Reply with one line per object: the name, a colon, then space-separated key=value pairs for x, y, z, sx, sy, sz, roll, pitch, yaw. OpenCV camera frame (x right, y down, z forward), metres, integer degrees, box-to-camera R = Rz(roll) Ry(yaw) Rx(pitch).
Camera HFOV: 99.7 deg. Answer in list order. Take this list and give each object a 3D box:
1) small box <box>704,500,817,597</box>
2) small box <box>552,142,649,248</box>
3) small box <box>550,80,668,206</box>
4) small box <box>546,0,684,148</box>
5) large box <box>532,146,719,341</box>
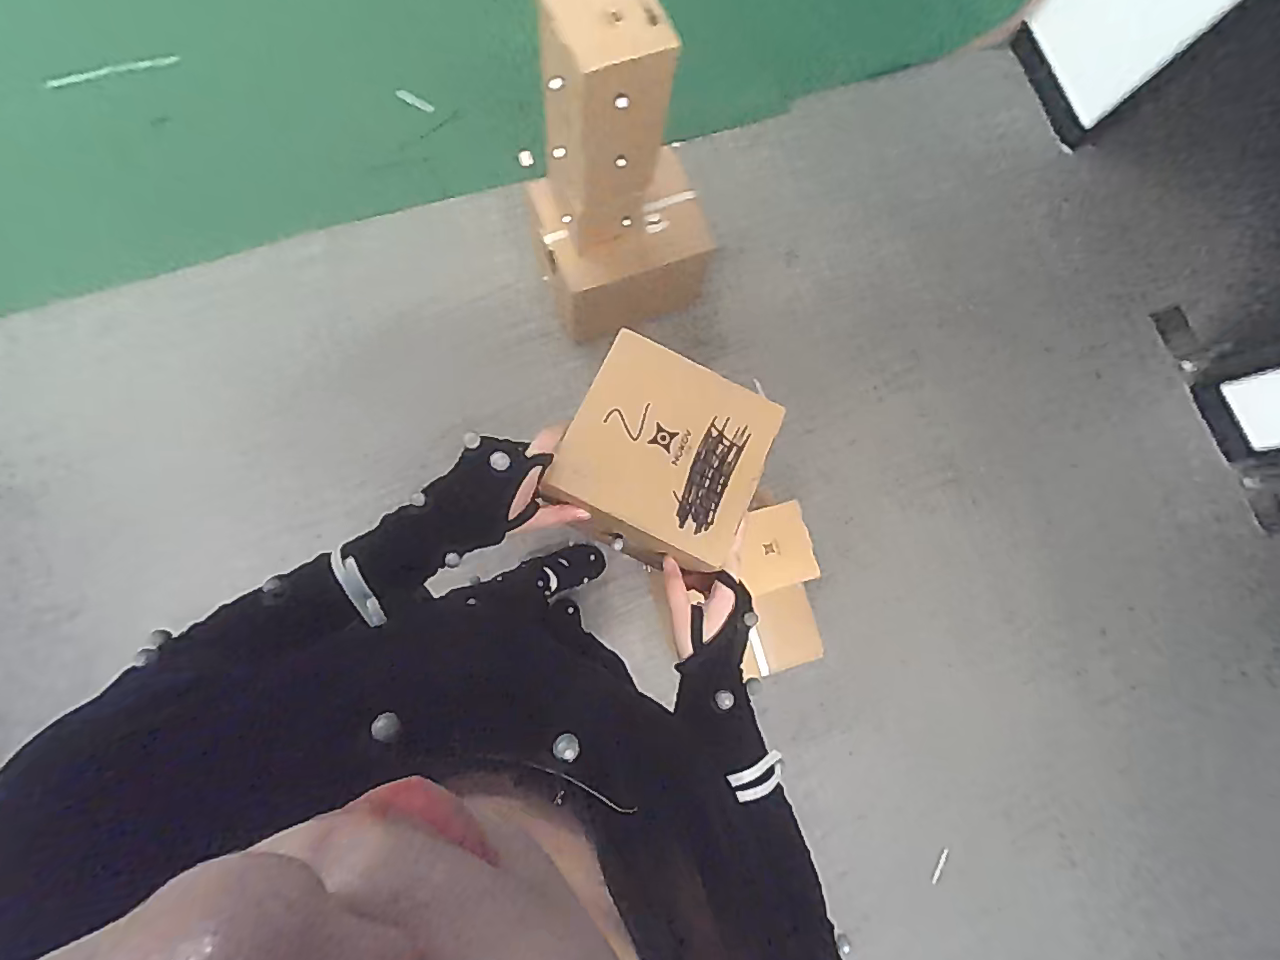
small box: x=0.249 y=0.150 z=1.174 sx=0.179 sy=0.176 sz=0.168 roll=-14 pitch=83 yaw=-11
small box: x=-0.094 y=-0.669 z=1.256 sx=0.168 sy=0.176 sz=0.179 roll=-22 pitch=84 yaw=-10
small box: x=-0.067 y=-0.696 z=1.097 sx=0.179 sy=0.176 sz=0.168 roll=-26 pitch=86 yaw=-11
small box: x=-0.047 y=-0.719 z=0.935 sx=0.179 sy=0.176 sz=0.168 roll=-24 pitch=85 yaw=-10
large box: x=-0.053 y=-0.641 z=1.506 sx=0.408 sy=0.320 sz=0.320 roll=-21 pitch=85 yaw=-11
